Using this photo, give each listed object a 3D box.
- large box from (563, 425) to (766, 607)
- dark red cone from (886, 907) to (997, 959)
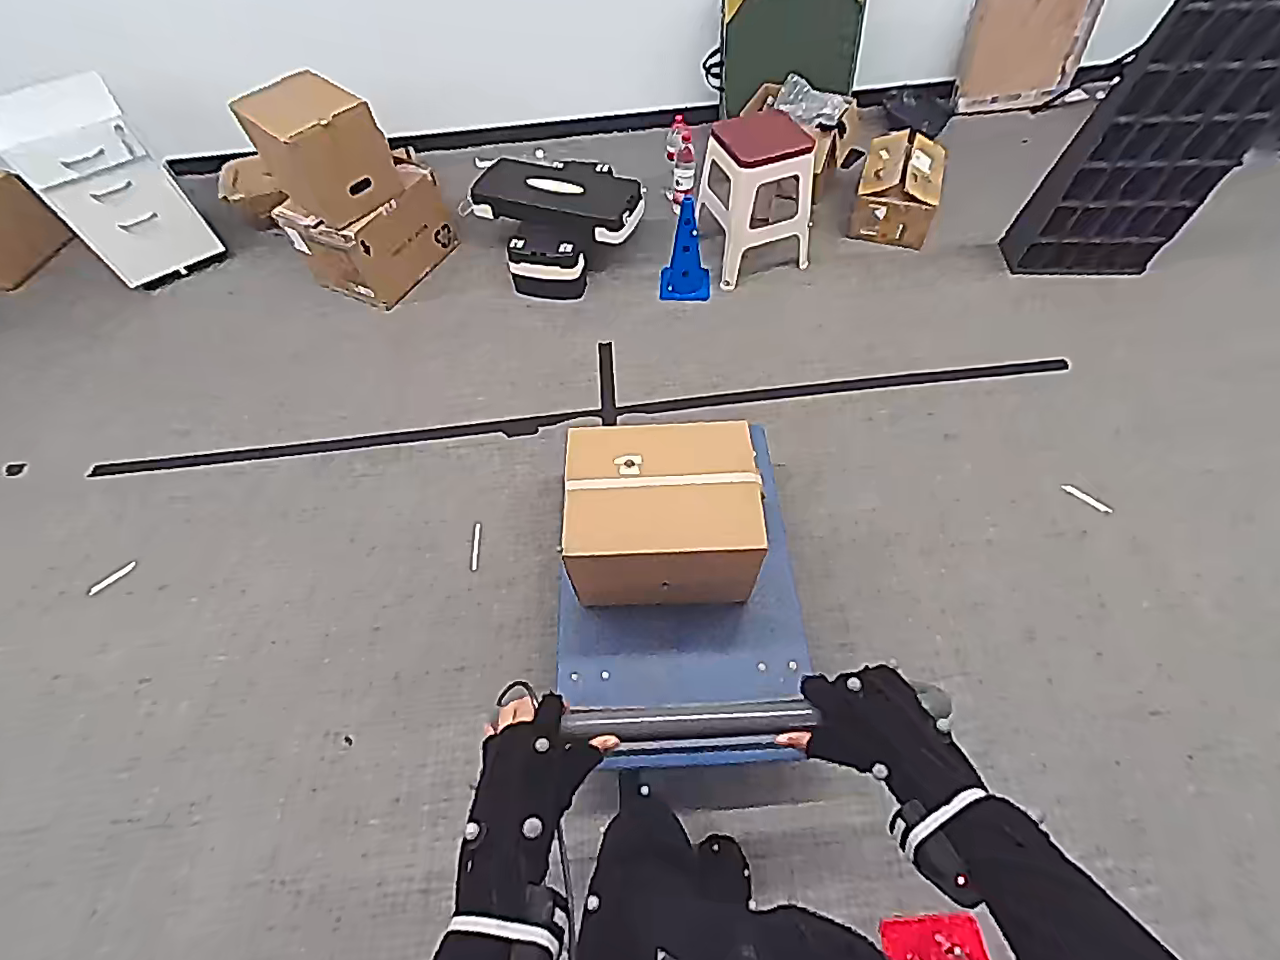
[{"bbox_3d":[0.051,0.095,1.257,0.408,0.320,0.320,-3,58,2],"label":"large box"},{"bbox_3d":[0.588,0.859,0.891,0.201,0.394,0.202,-5,58,-2],"label":"dark red cone"}]
